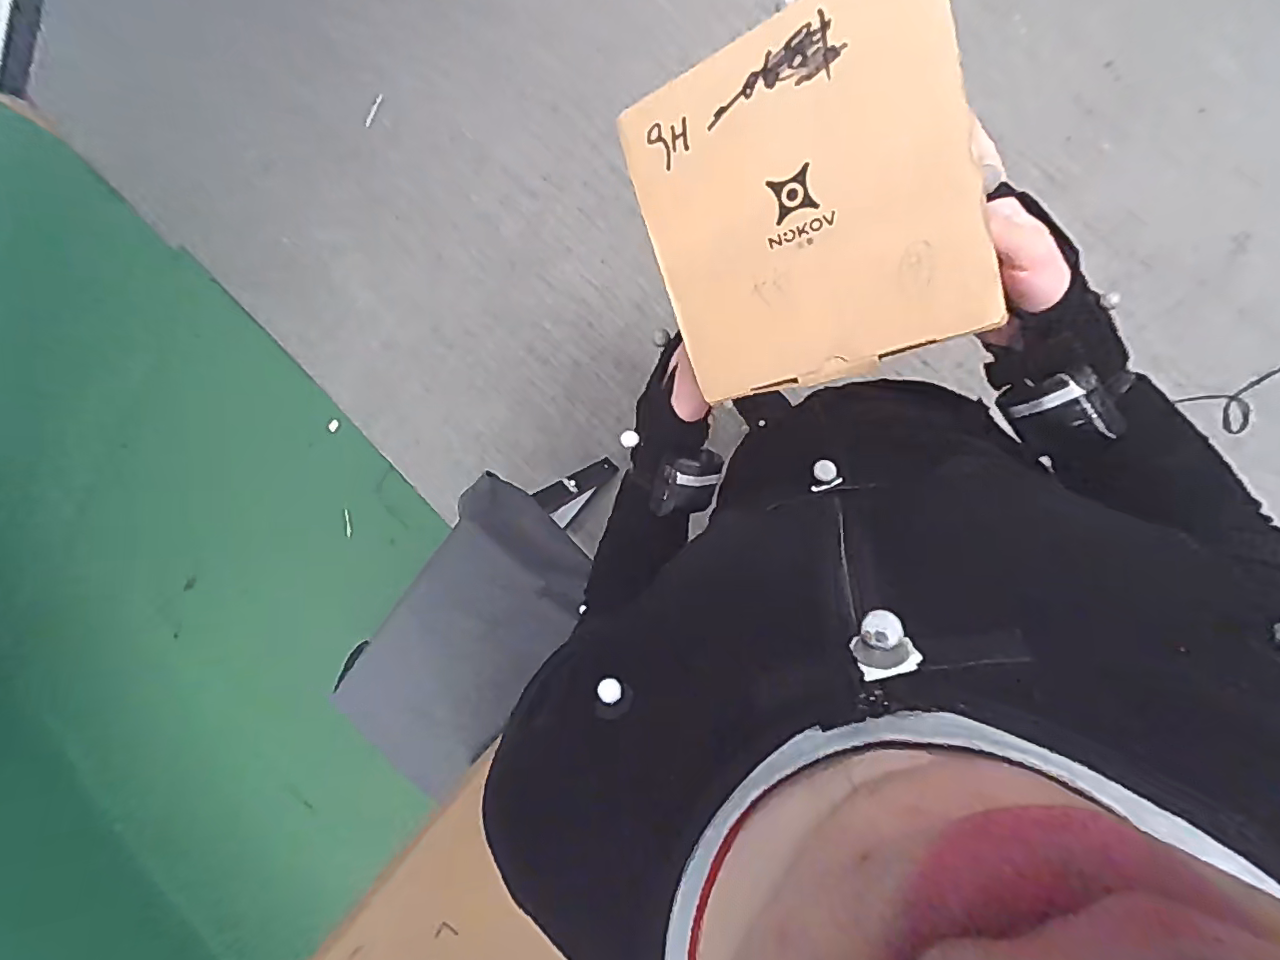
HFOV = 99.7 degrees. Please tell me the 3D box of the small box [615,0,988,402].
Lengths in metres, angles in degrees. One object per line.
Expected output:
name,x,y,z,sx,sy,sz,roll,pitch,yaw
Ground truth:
small box,0.115,-0.172,0.356,0.168,0.176,0.179,-12,107,30
